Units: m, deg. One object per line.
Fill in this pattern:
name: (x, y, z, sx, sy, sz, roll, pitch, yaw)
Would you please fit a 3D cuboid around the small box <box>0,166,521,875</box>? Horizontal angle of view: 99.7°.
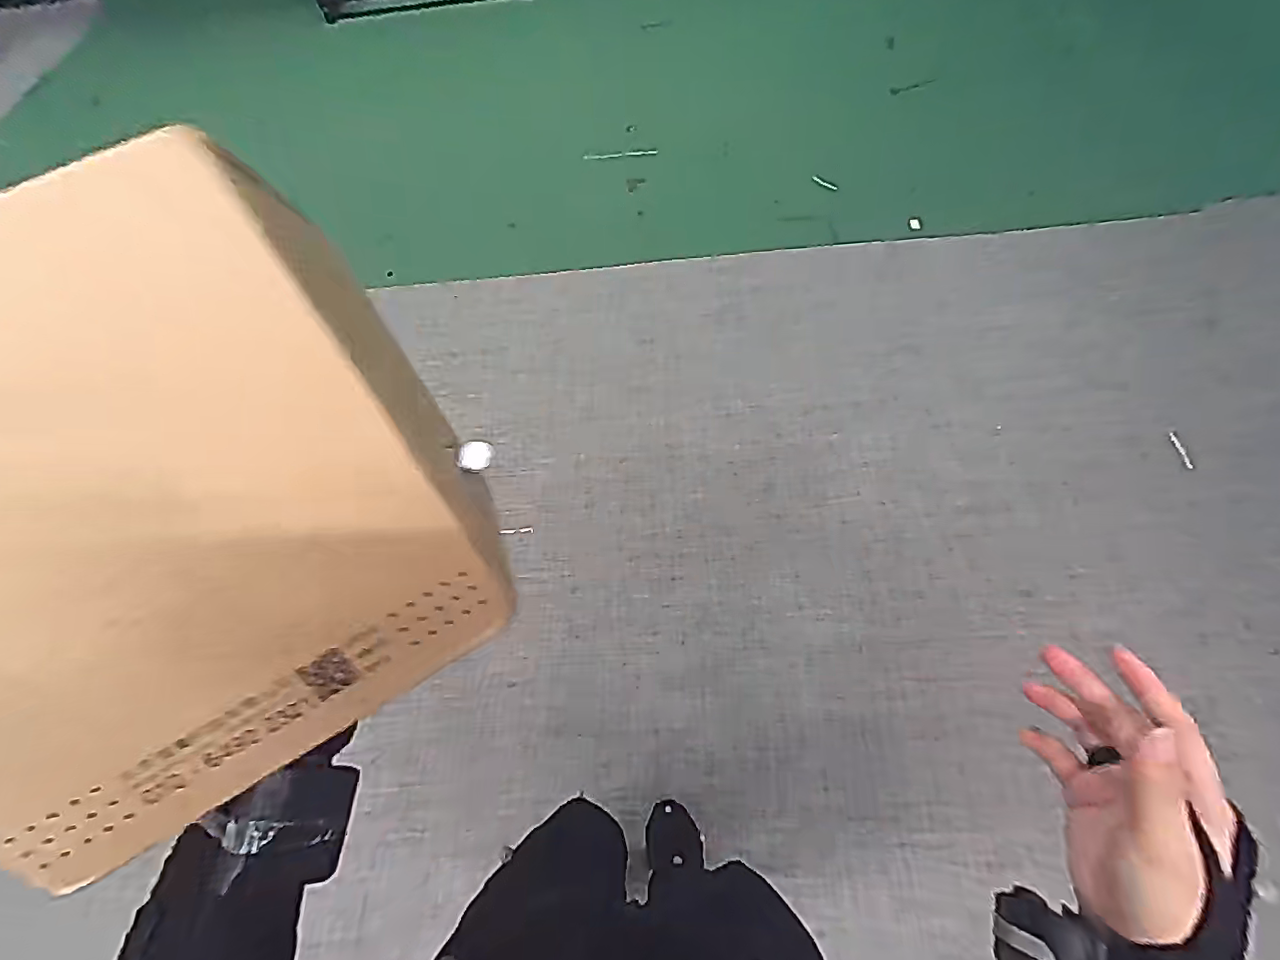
small box: (-0.171, 0.007, 0.233, 0.168, 0.176, 0.179, -32, 23, -9)
